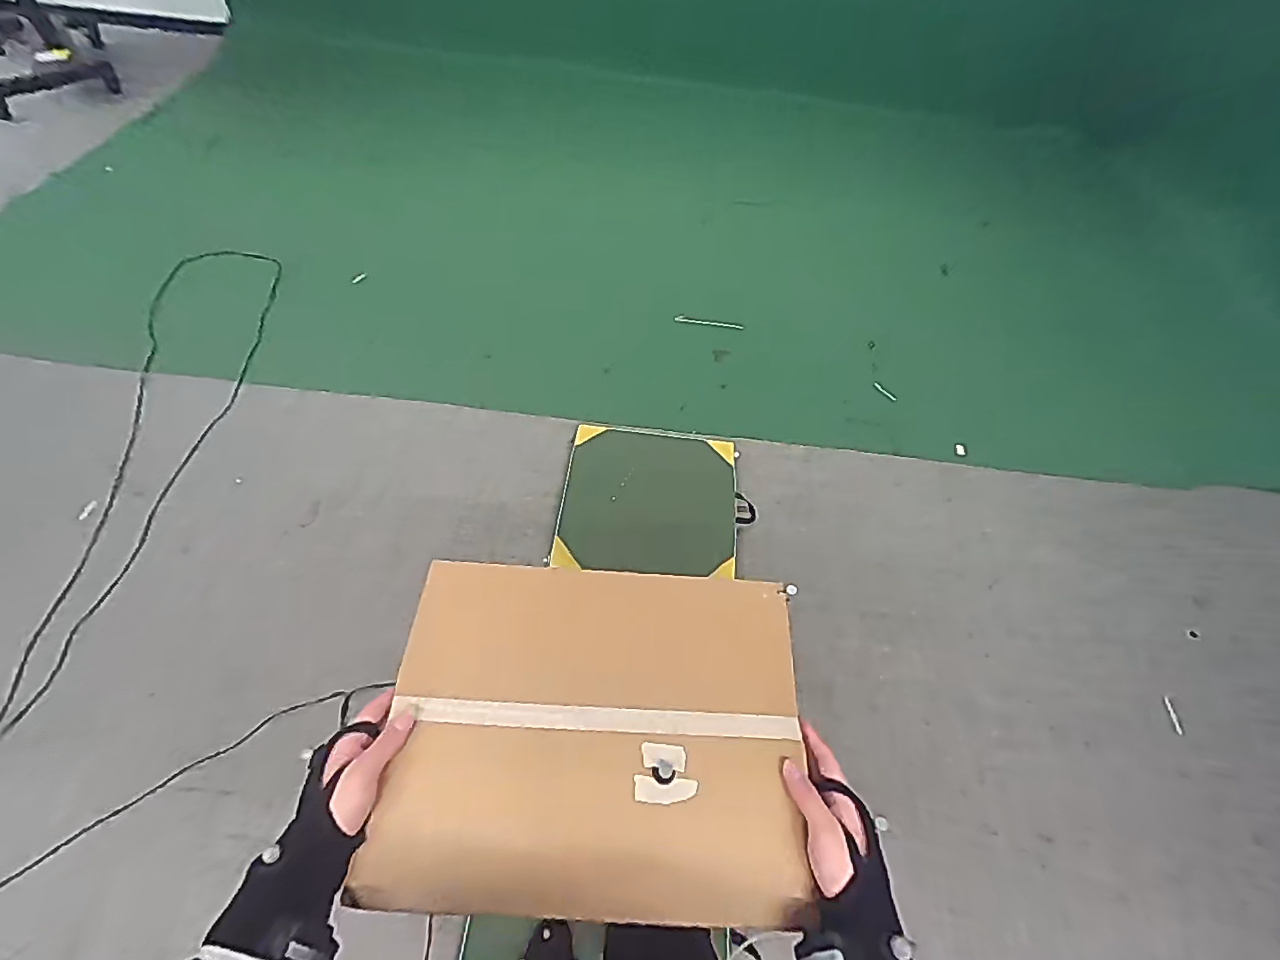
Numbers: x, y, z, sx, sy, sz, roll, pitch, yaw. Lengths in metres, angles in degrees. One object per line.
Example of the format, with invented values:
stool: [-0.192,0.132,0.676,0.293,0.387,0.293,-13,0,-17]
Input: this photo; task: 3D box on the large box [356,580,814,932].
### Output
large box: [-0.051,0.336,0.668,0.408,0.320,0.320,4,57,-2]
